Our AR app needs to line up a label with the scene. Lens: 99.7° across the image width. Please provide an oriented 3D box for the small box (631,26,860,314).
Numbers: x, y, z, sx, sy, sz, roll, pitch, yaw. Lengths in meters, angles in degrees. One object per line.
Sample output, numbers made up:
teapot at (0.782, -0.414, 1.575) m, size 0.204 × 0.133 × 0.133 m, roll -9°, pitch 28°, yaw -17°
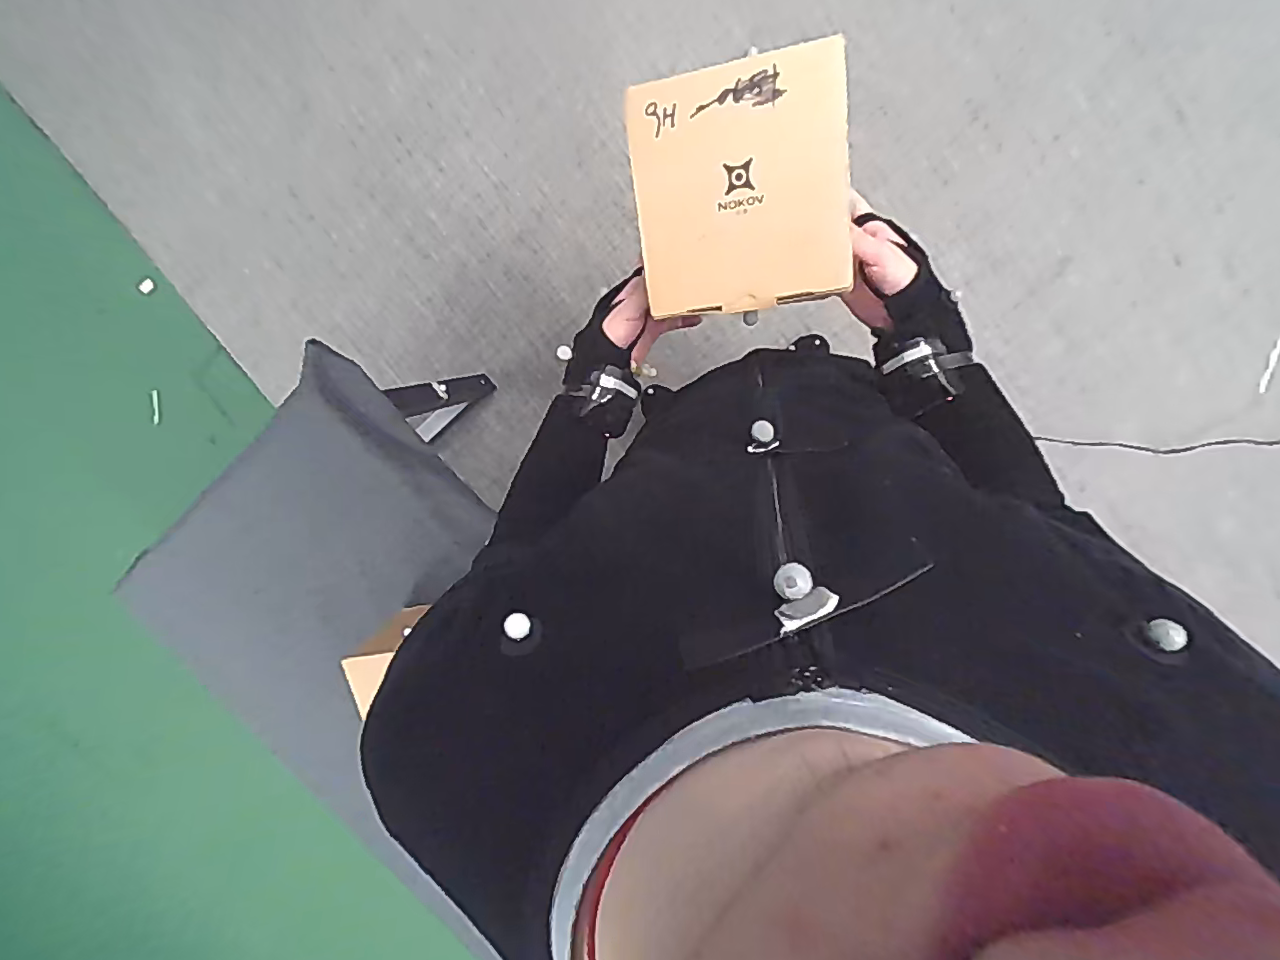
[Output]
small box at (0.097, -0.254, 0.491) m, size 0.168 × 0.176 × 0.179 m, roll -5°, pitch 106°, yaw 12°
